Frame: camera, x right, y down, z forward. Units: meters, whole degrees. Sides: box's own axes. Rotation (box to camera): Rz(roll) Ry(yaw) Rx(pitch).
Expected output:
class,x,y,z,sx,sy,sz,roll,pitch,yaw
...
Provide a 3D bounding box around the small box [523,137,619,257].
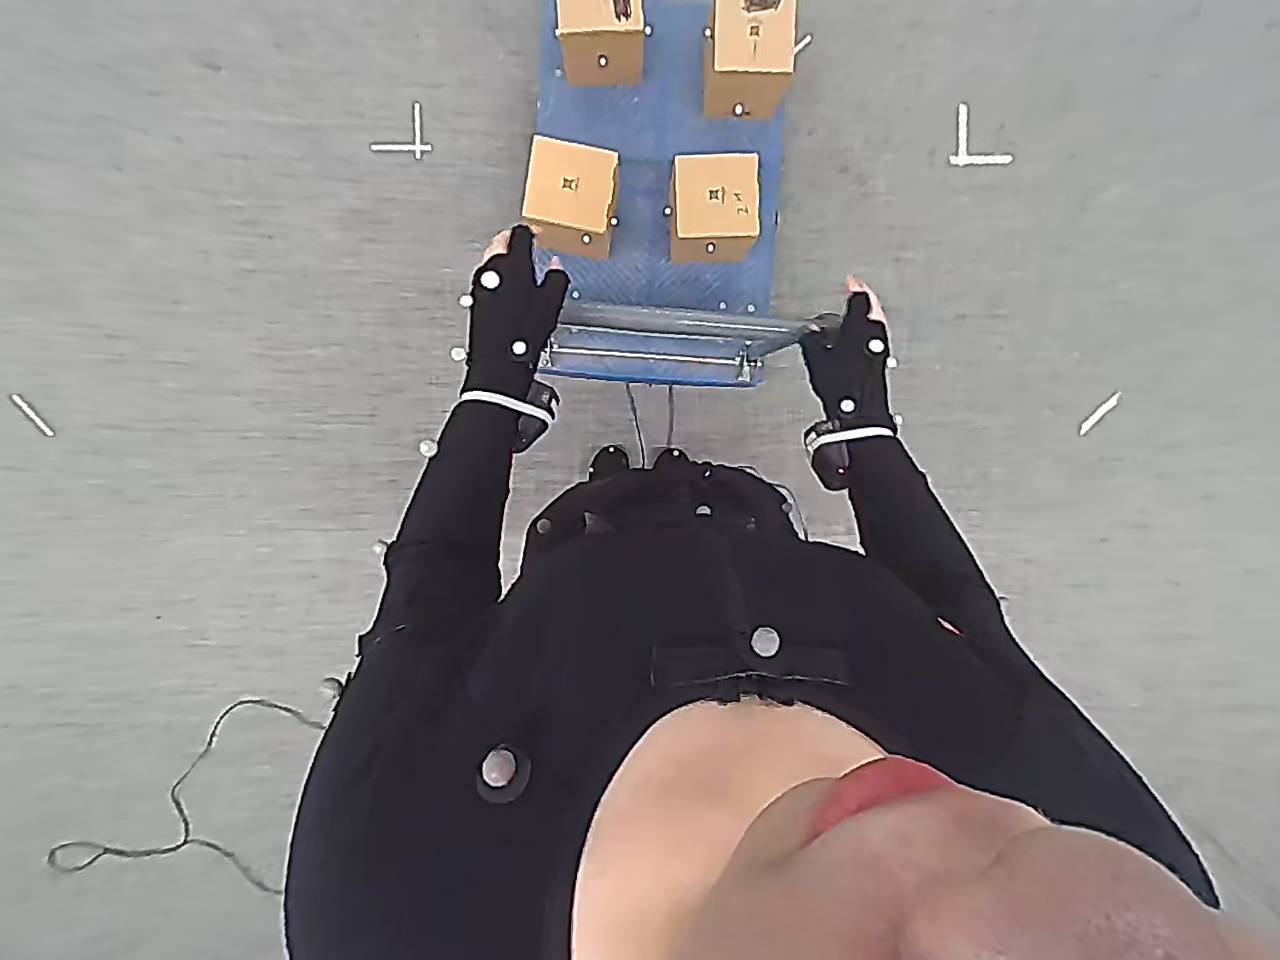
class,x,y,z,sx,sy,sz,roll,pitch,yaw
small box,-0.147,-0.613,1.194,0.179,0.176,0.168,9,93,-4

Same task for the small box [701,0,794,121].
class,x,y,z,sx,sy,sz,roll,pitch,yaw
small box,0.229,-0.928,1.184,0.168,0.176,0.179,0,95,-2

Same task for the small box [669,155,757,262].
class,x,y,z,sx,sy,sz,roll,pitch,yaw
small box,0.156,-0.597,1.207,0.179,0.176,0.168,-2,95,-2
